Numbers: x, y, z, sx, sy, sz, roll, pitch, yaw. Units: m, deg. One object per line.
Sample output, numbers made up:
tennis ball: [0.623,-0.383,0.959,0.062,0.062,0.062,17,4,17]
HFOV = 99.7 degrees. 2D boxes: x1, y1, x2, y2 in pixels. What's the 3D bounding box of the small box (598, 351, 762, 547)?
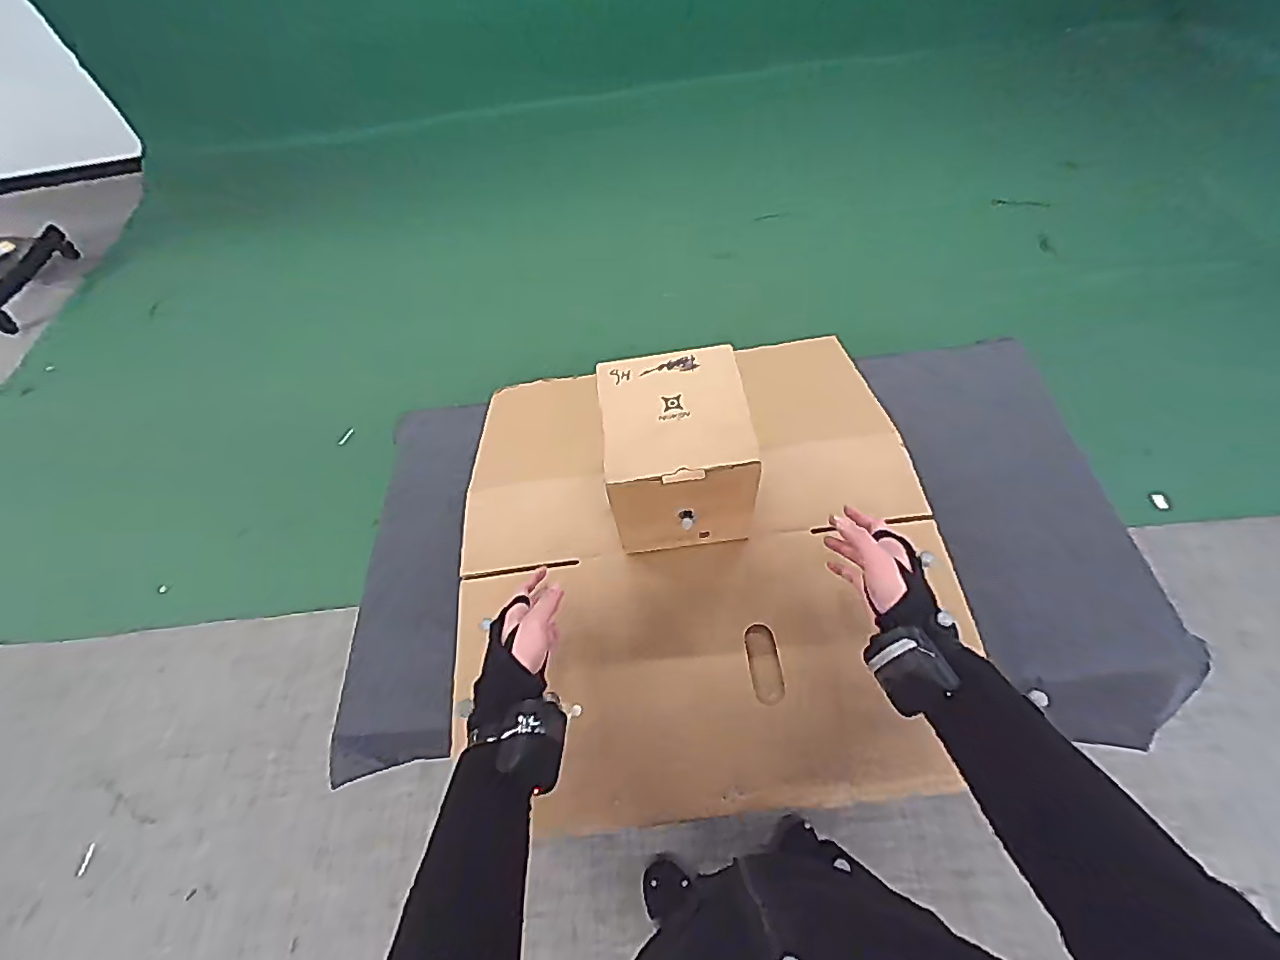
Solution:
small box: [0.049,-0.029,0.676,0.168,0.176,0.179,-10,57,1]
